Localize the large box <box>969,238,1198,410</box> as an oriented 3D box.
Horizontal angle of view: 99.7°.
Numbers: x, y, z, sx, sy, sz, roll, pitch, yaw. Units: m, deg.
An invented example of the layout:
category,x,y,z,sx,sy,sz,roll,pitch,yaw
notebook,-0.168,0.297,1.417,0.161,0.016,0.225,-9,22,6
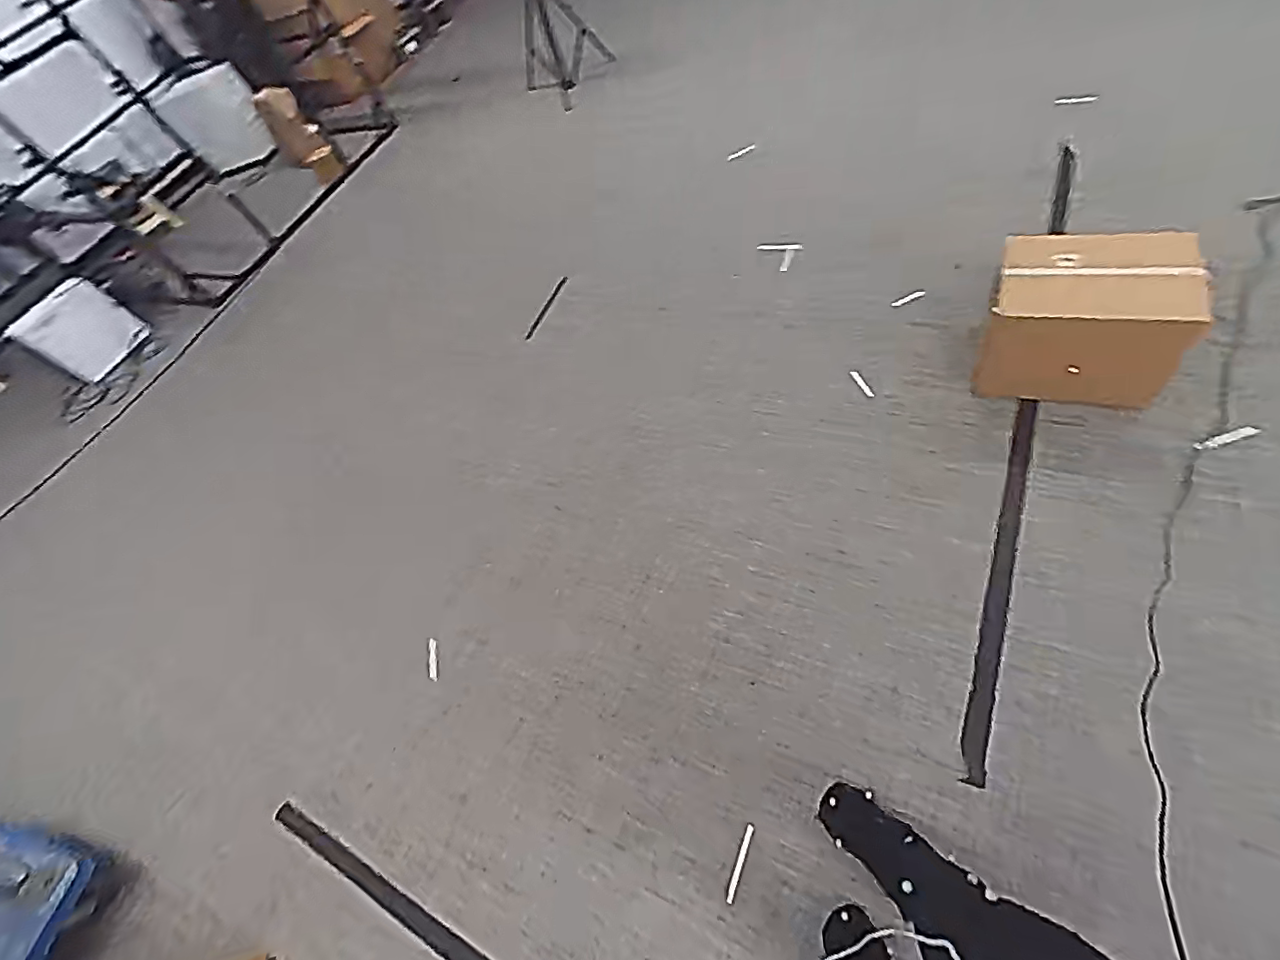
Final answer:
category,x,y,z,sx,sy,sz,roll,pitch,yaw
large box,1.154,-0.412,1.459,0.408,0.320,0.320,9,60,26
